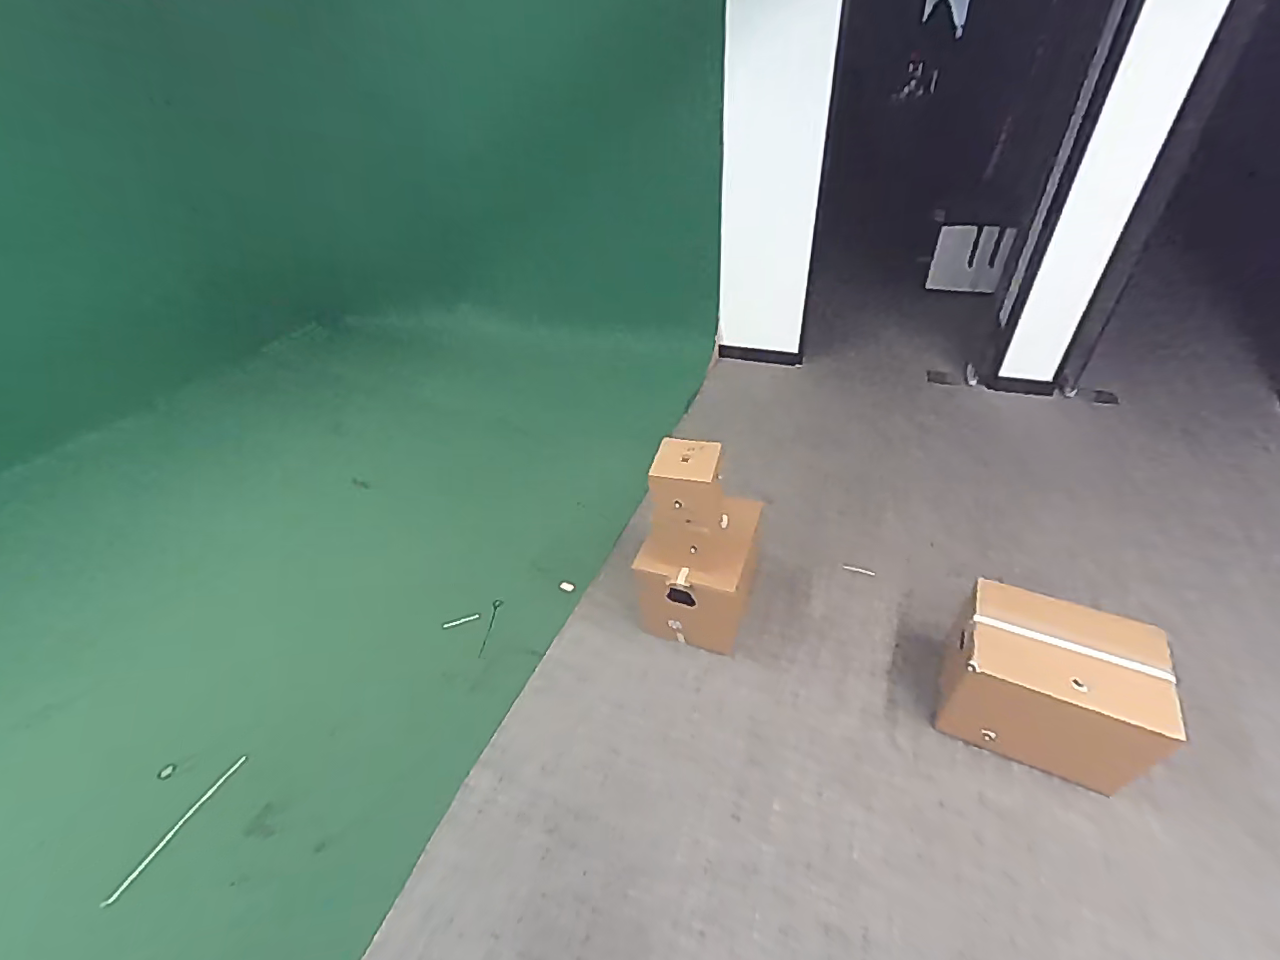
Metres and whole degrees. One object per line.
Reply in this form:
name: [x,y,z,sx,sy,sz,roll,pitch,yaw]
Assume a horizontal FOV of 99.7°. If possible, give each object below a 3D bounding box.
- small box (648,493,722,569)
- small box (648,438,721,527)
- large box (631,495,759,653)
small box: [0.135,0.139,1.580,0.179,0.176,0.168,10,41,19]
small box: [0.127,0.008,1.481,0.168,0.176,0.179,8,40,15]
large box: [0.194,0.287,1.778,0.320,0.320,0.408,11,41,19]
